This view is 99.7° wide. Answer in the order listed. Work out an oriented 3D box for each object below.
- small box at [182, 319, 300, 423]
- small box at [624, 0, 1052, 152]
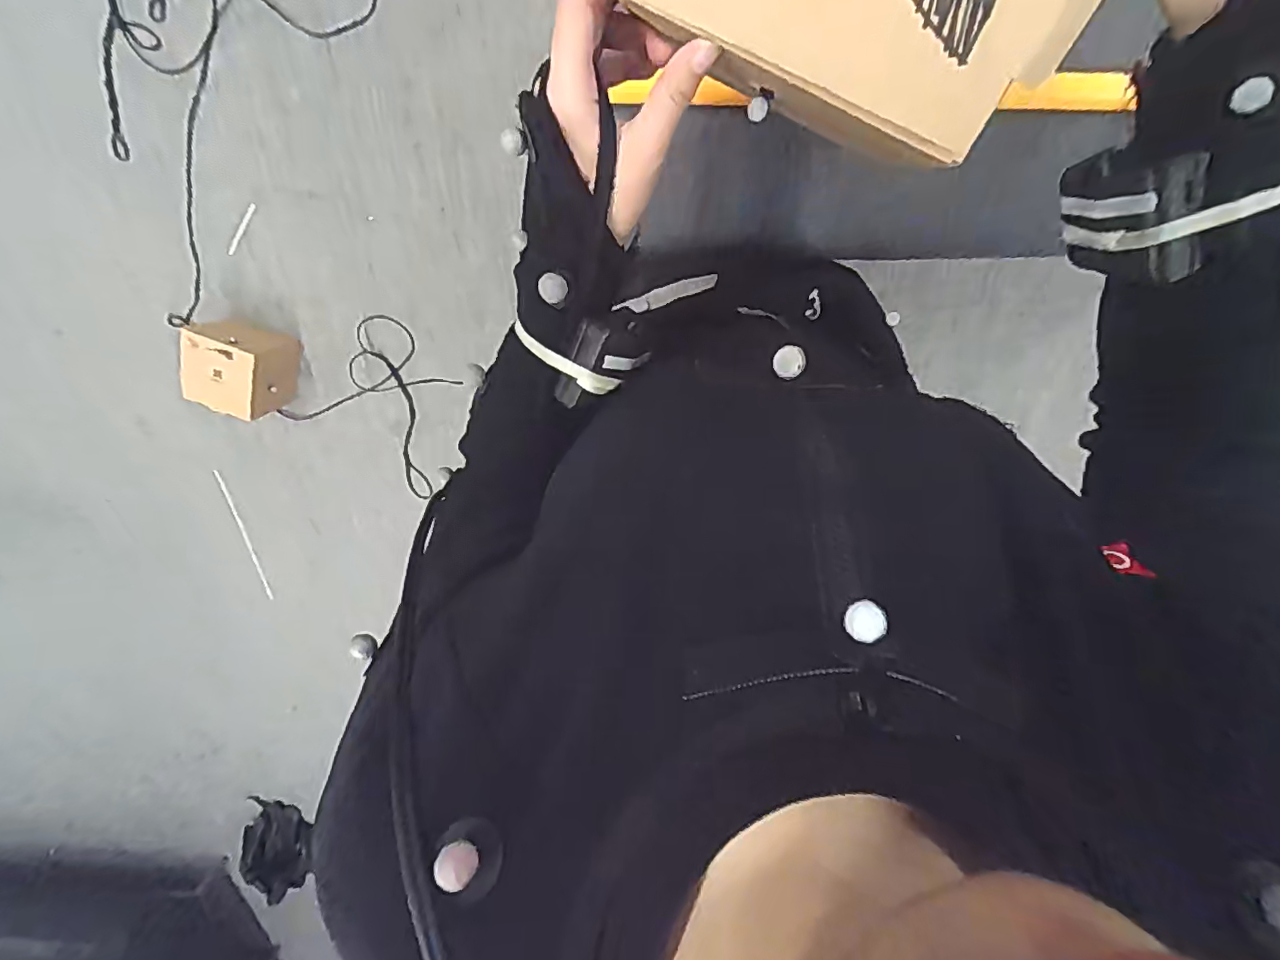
[{"bbox_3d":[-0.962,-0.269,1.313,0.168,0.176,0.179,21,115,-5],"label":"small box"},{"bbox_3d":[0.107,-0.285,0.263,0.179,0.176,0.168,24,122,-2],"label":"small box"}]
